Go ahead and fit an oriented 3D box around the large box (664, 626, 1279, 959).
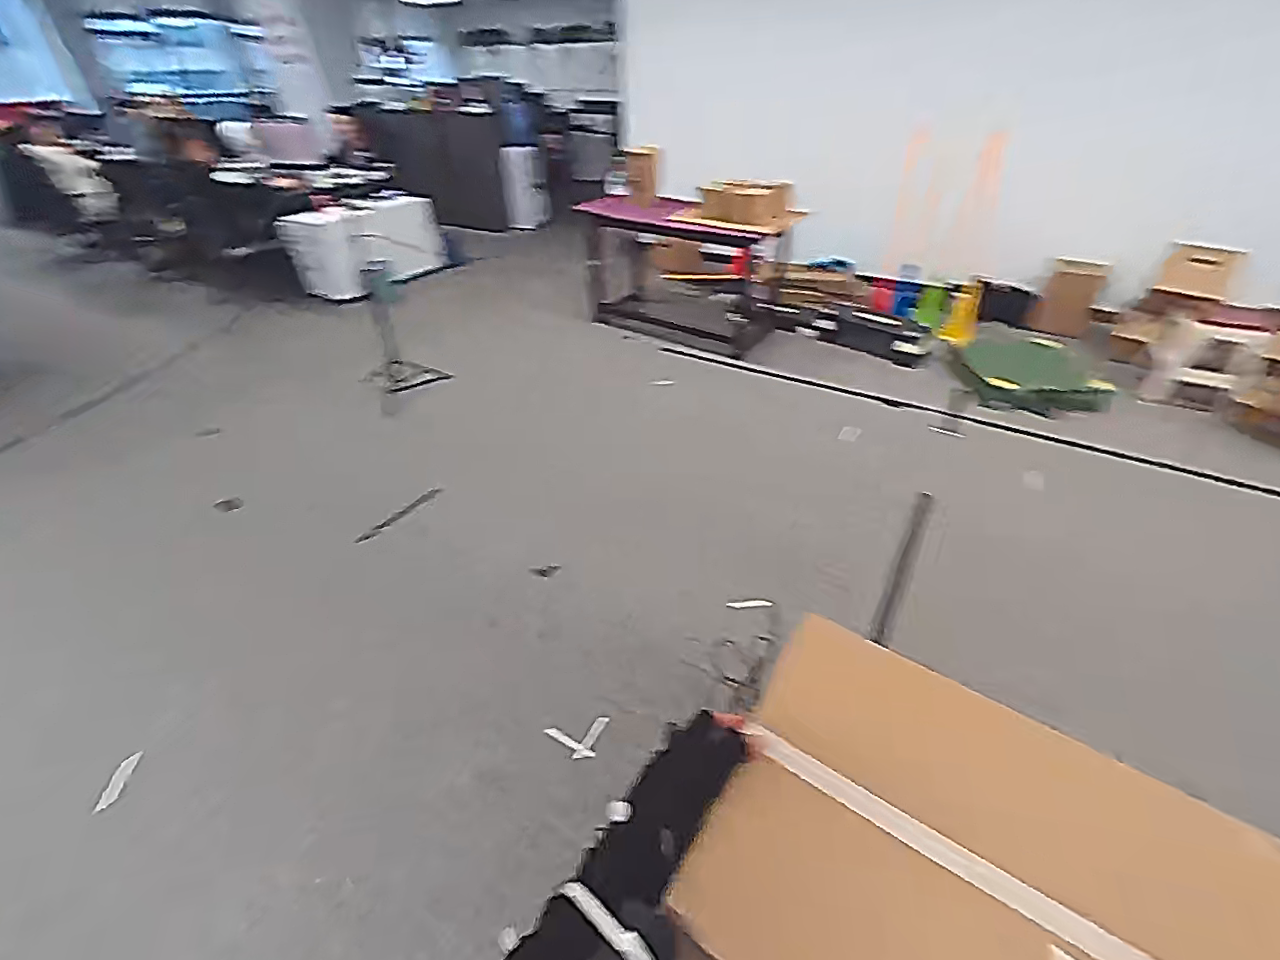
[{"bbox_3d":[0.271,0.426,0.528,0.408,0.320,0.320,24,49,24],"label":"large box"}]
